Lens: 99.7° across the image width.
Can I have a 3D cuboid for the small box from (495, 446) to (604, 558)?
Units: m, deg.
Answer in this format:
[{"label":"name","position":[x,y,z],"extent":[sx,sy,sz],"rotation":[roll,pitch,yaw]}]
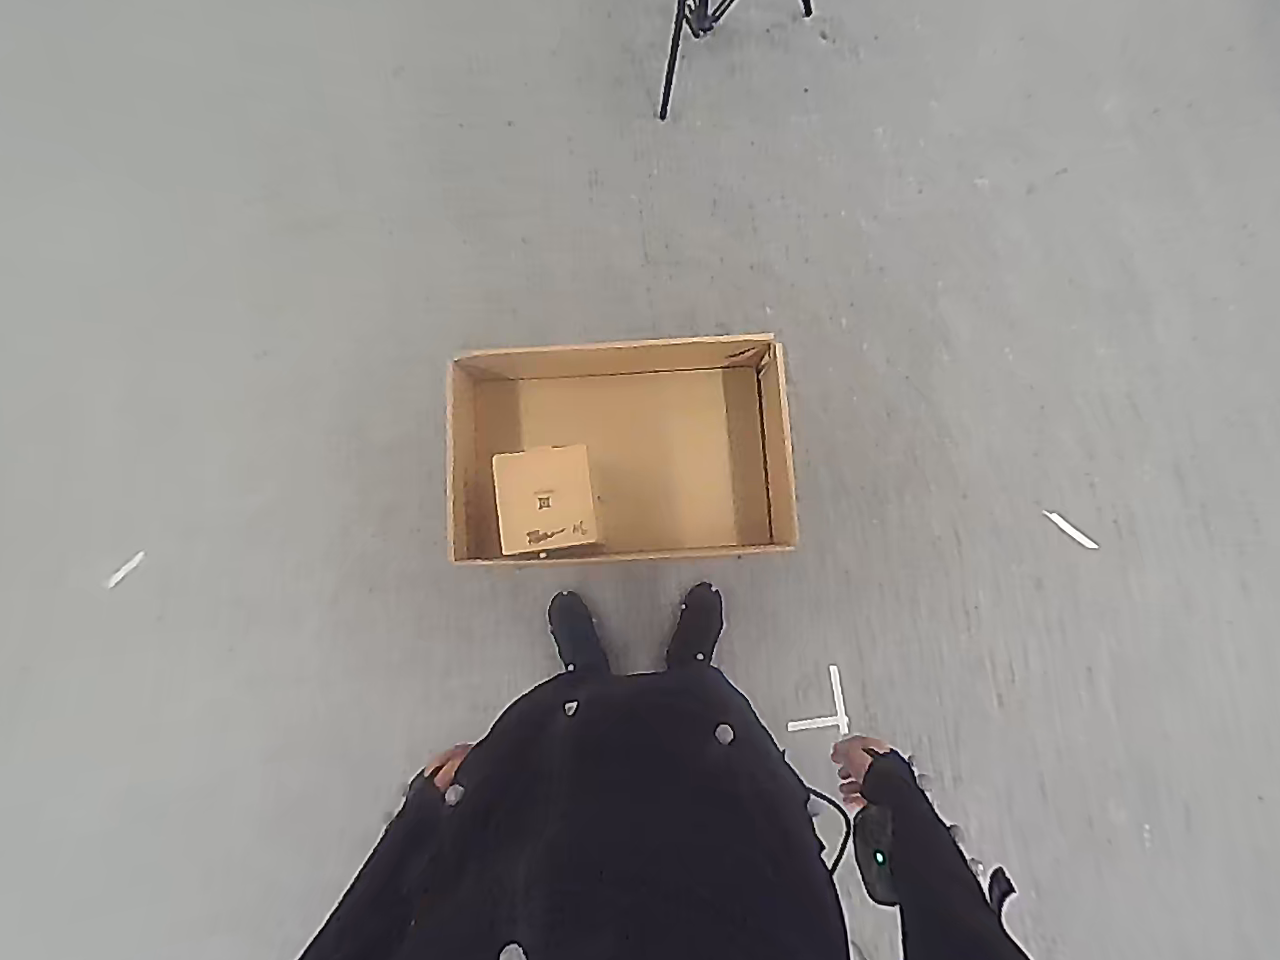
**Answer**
[{"label":"small box","position":[-0.161,0.047,1.006],"extent":[0.168,0.176,0.179],"rotation":[-8,81,0]}]
